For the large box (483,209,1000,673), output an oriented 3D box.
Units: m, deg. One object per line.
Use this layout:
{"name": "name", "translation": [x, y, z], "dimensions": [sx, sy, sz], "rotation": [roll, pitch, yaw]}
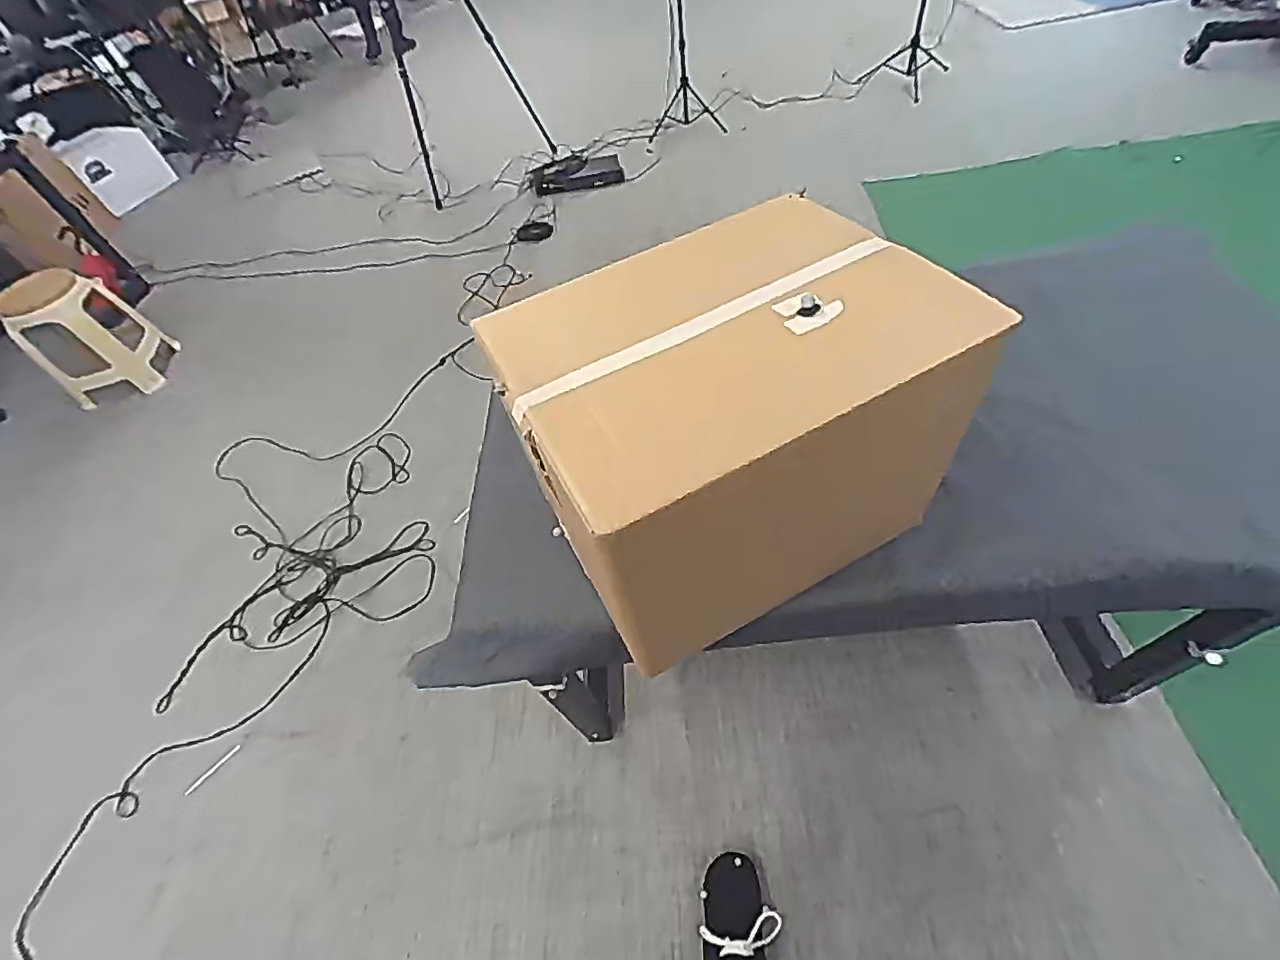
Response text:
{"name": "large box", "translation": [0.092, -0.050, 0.632], "dimensions": [0.408, 0.320, 0.320], "rotation": [-26, 53, -13]}
